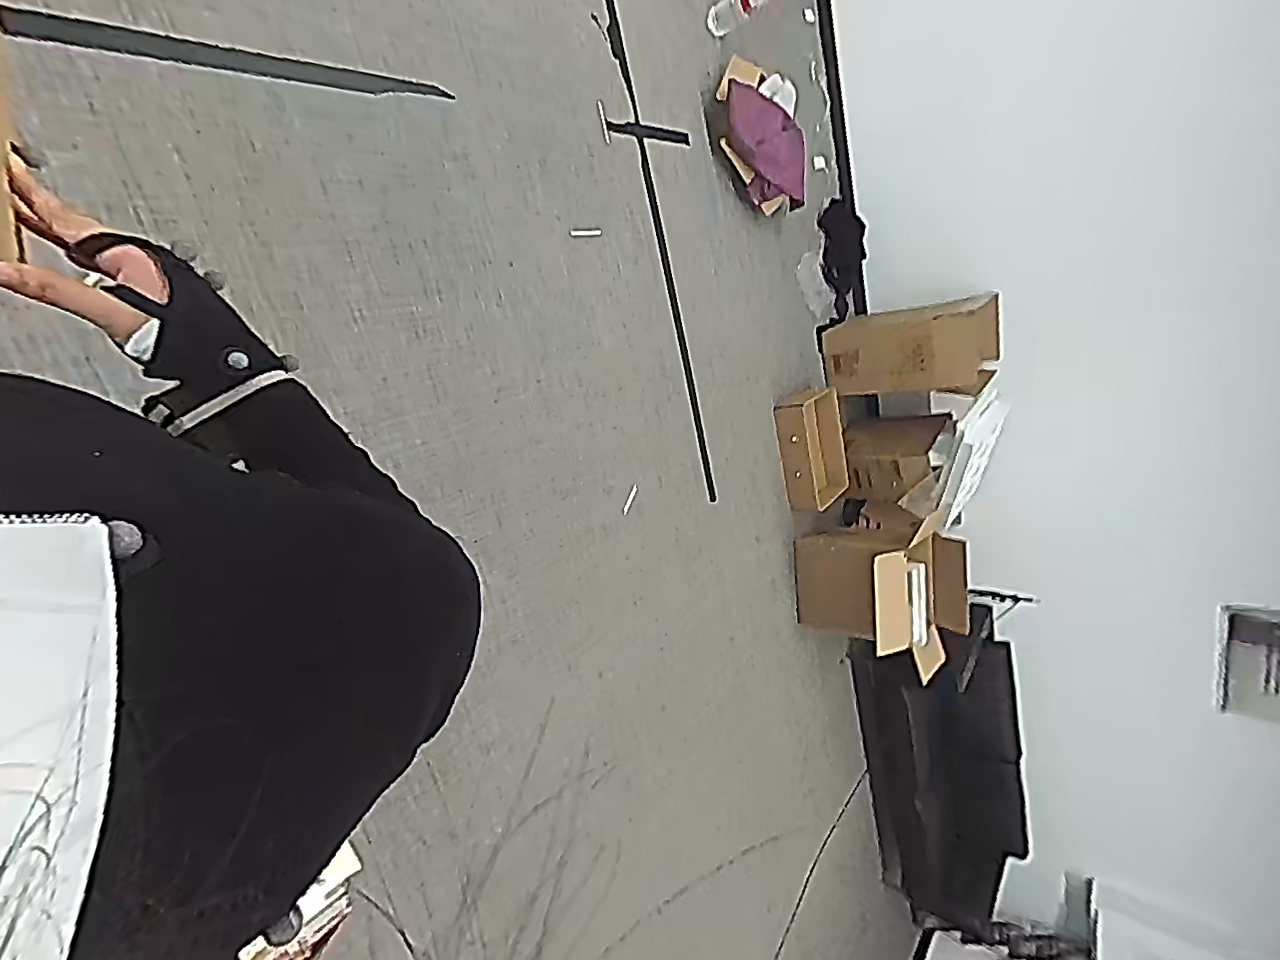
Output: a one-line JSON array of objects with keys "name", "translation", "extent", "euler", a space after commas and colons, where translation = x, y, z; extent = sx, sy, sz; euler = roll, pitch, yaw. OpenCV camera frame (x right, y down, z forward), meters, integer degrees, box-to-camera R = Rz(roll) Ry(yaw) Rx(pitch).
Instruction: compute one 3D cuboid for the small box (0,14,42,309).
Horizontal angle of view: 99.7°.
[{"name": "small box", "translation": [-0.502, -0.210, 0.333], "extent": [0.168, 0.176, 0.179], "euler": [-8, 111, -46]}]
